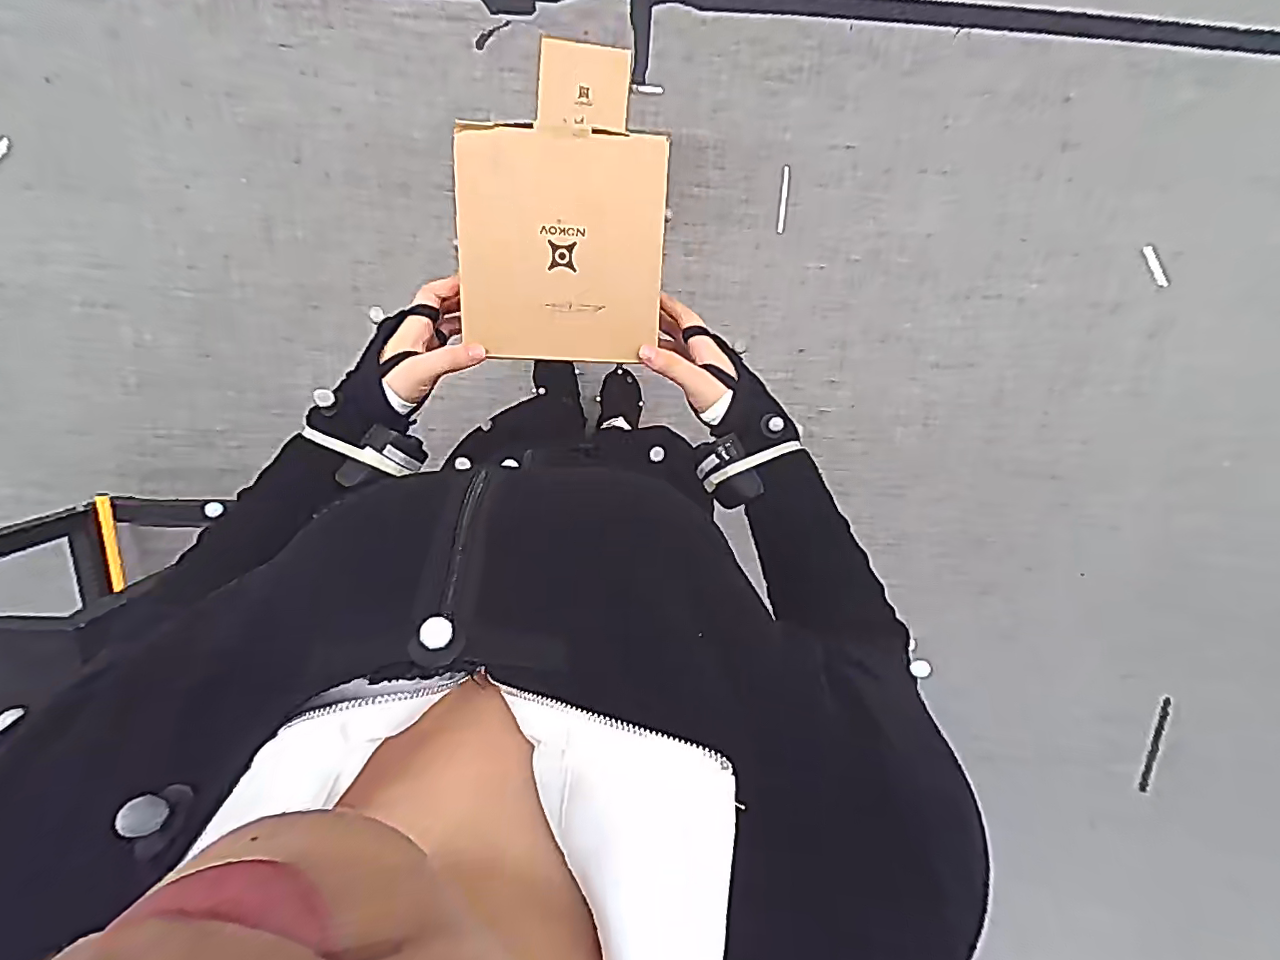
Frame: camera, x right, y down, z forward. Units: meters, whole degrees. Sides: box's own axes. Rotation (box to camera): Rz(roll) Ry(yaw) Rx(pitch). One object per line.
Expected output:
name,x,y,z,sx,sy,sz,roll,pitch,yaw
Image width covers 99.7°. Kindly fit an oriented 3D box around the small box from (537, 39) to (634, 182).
small box,-0.105,-0.720,1.072,0.168,0.176,0.179,6,104,-4
